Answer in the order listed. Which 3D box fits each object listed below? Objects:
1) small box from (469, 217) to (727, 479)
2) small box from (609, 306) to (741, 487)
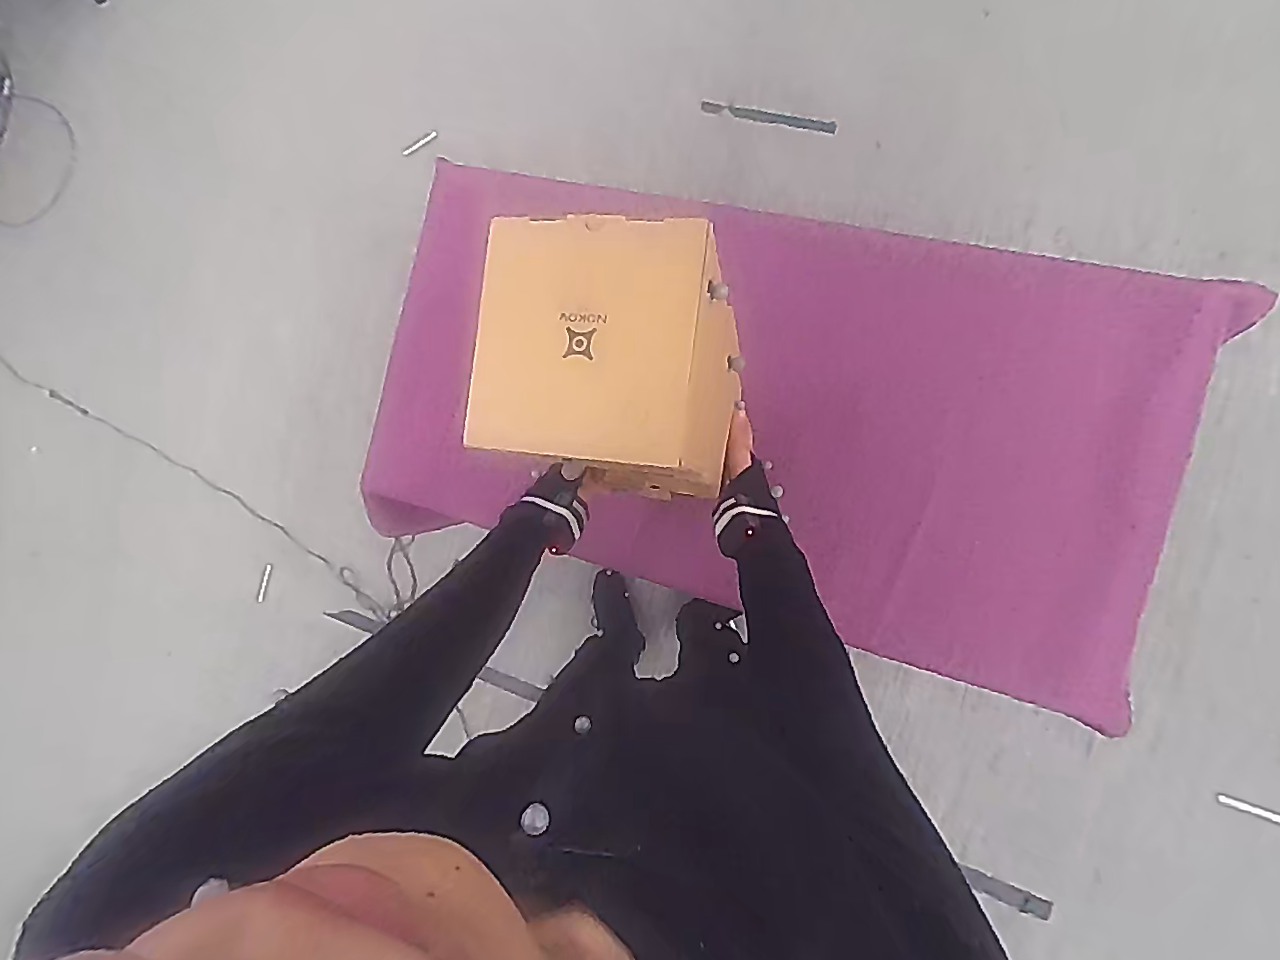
[{"bbox_3d":[-0.020,-0.097,0.459,0.168,0.176,0.179,6,88,13],"label":"small box"},{"bbox_3d":[0.020,-0.092,0.617,0.168,0.176,0.179,9,90,14],"label":"small box"}]
